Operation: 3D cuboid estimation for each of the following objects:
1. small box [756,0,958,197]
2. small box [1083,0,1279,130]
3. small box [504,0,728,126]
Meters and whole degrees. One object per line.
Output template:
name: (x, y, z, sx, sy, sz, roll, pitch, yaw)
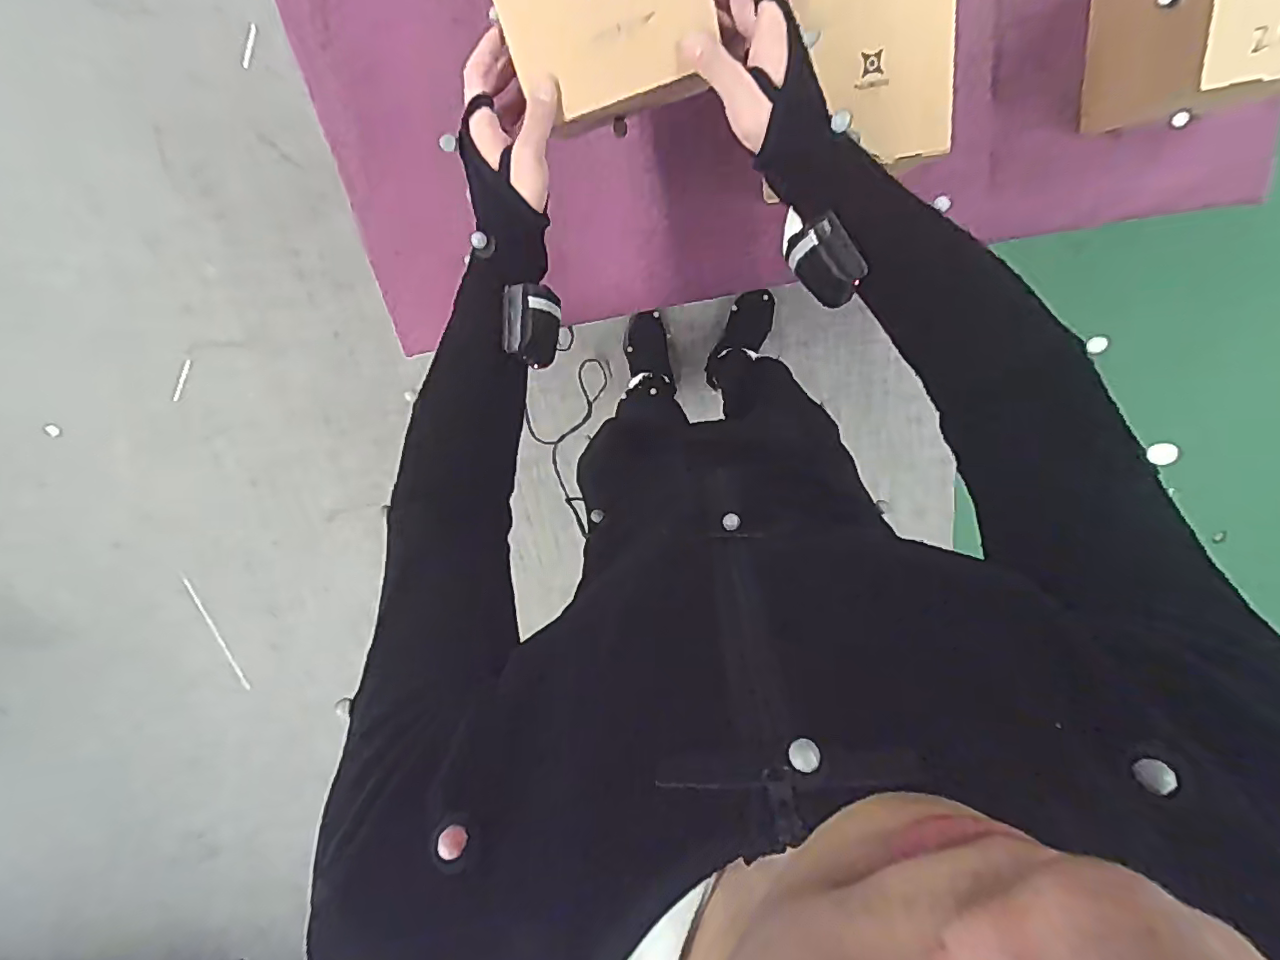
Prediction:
small box: (0.235, -0.445, 0.622, 0.168, 0.176, 0.179, -9, 111, 3)
small box: (0.632, -0.514, 0.589, 0.168, 0.176, 0.179, -7, 110, 4)
small box: (-0.028, -0.435, 0.471, 0.168, 0.176, 0.179, -13, 120, 10)
